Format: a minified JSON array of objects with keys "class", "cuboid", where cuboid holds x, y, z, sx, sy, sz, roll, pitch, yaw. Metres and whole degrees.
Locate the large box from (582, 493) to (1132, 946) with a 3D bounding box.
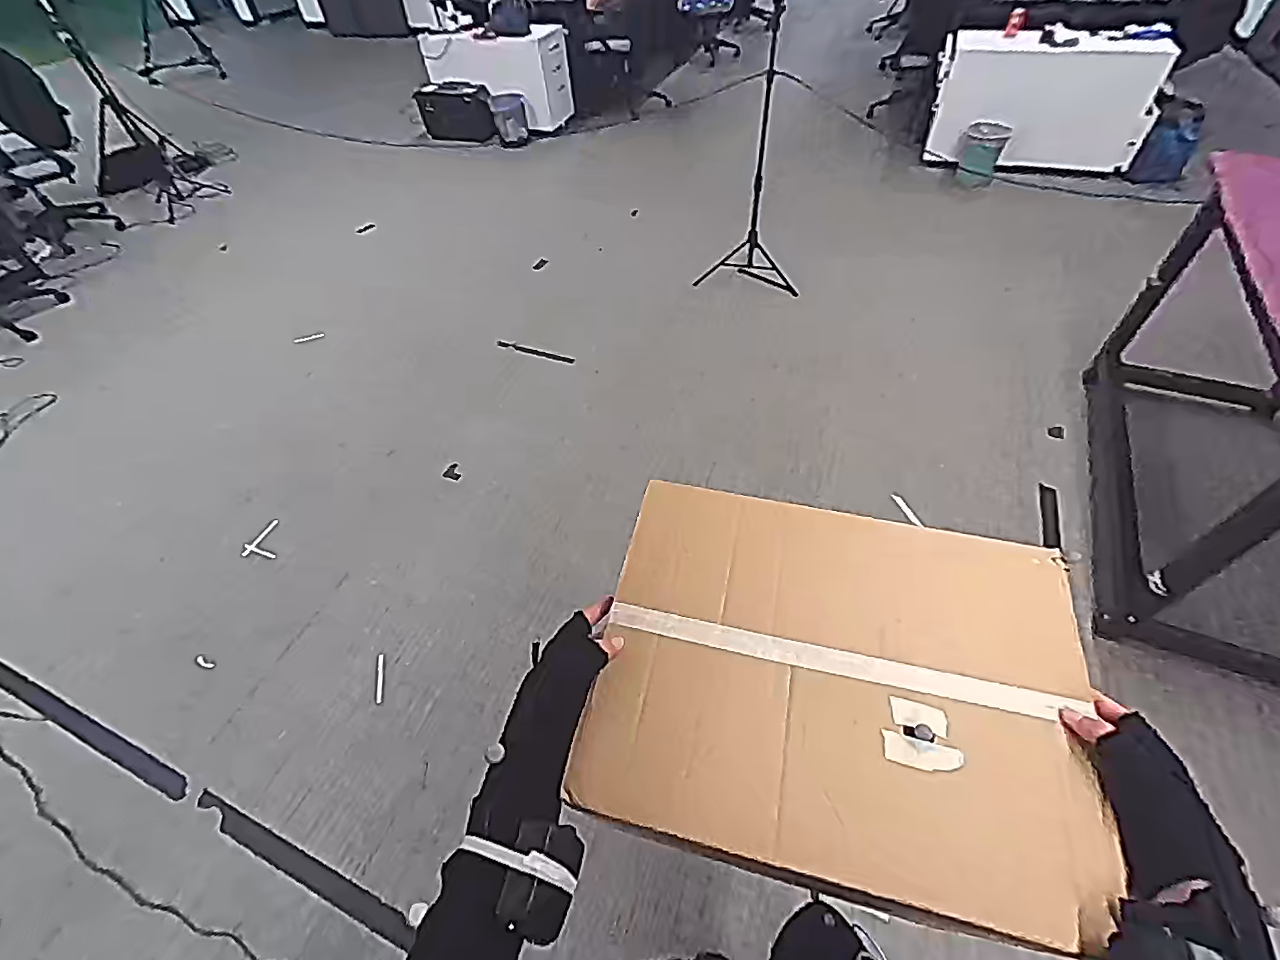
[{"class":"large box","cuboid":[0.184,0.251,0.603,0.408,0.320,0.320,10,56,11]}]
